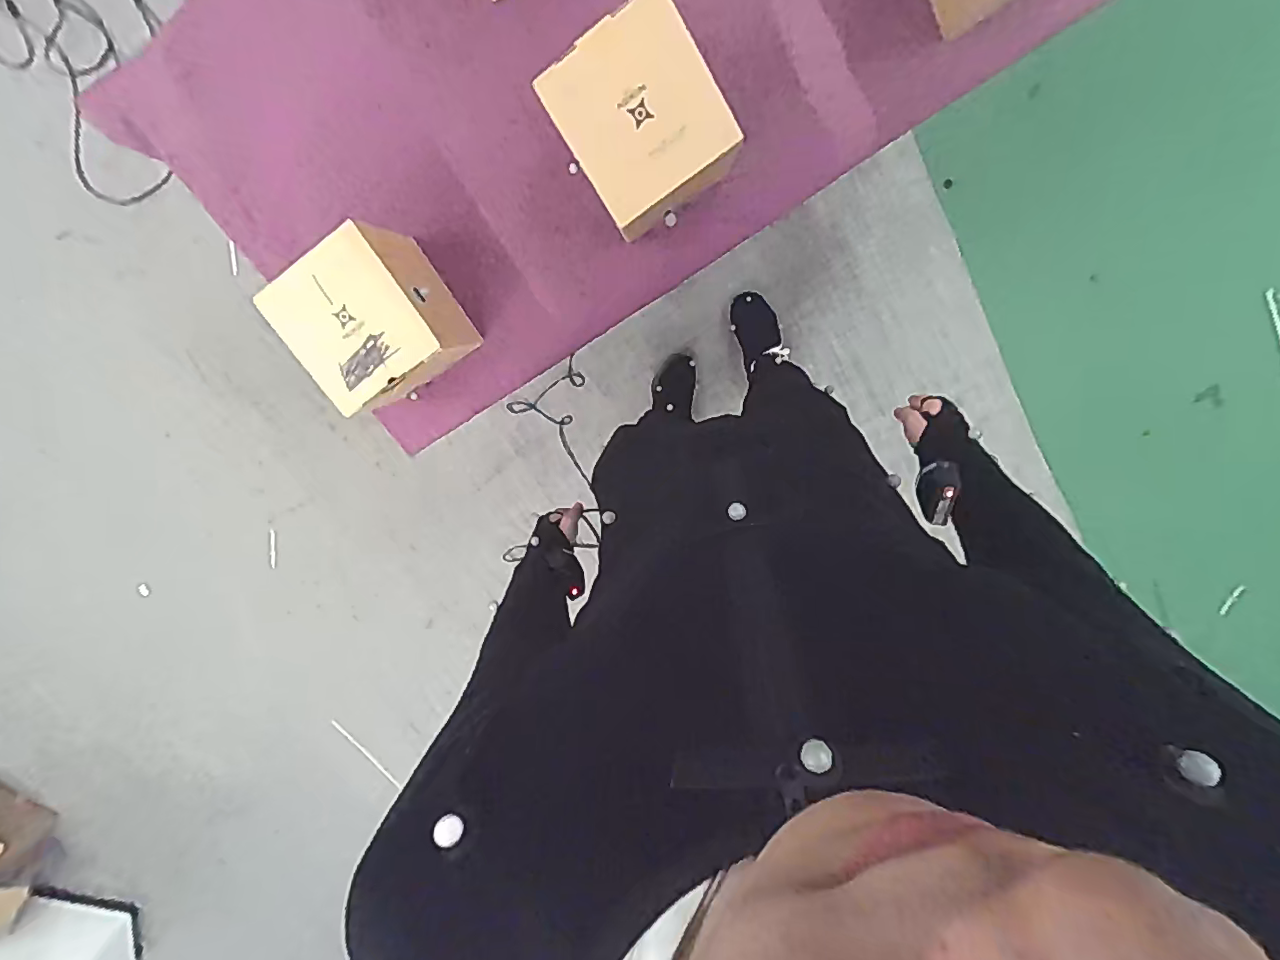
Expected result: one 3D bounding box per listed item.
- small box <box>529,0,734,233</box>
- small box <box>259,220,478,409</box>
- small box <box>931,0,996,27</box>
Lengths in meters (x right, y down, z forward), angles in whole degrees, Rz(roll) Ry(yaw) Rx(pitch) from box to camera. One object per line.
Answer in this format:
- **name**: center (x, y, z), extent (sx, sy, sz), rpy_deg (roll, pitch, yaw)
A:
- **small box**: center (-0.005, -0.432, 0.665), extent (0.168, 0.176, 0.179), rpy_deg (-31, 104, 13)
- **small box**: center (-0.357, -0.227, 0.752), extent (0.168, 0.176, 0.179), rpy_deg (-31, 103, 12)
- **small box**: center (0.402, -0.643, 0.567), extent (0.168, 0.176, 0.179), rpy_deg (-29, 106, 13)
